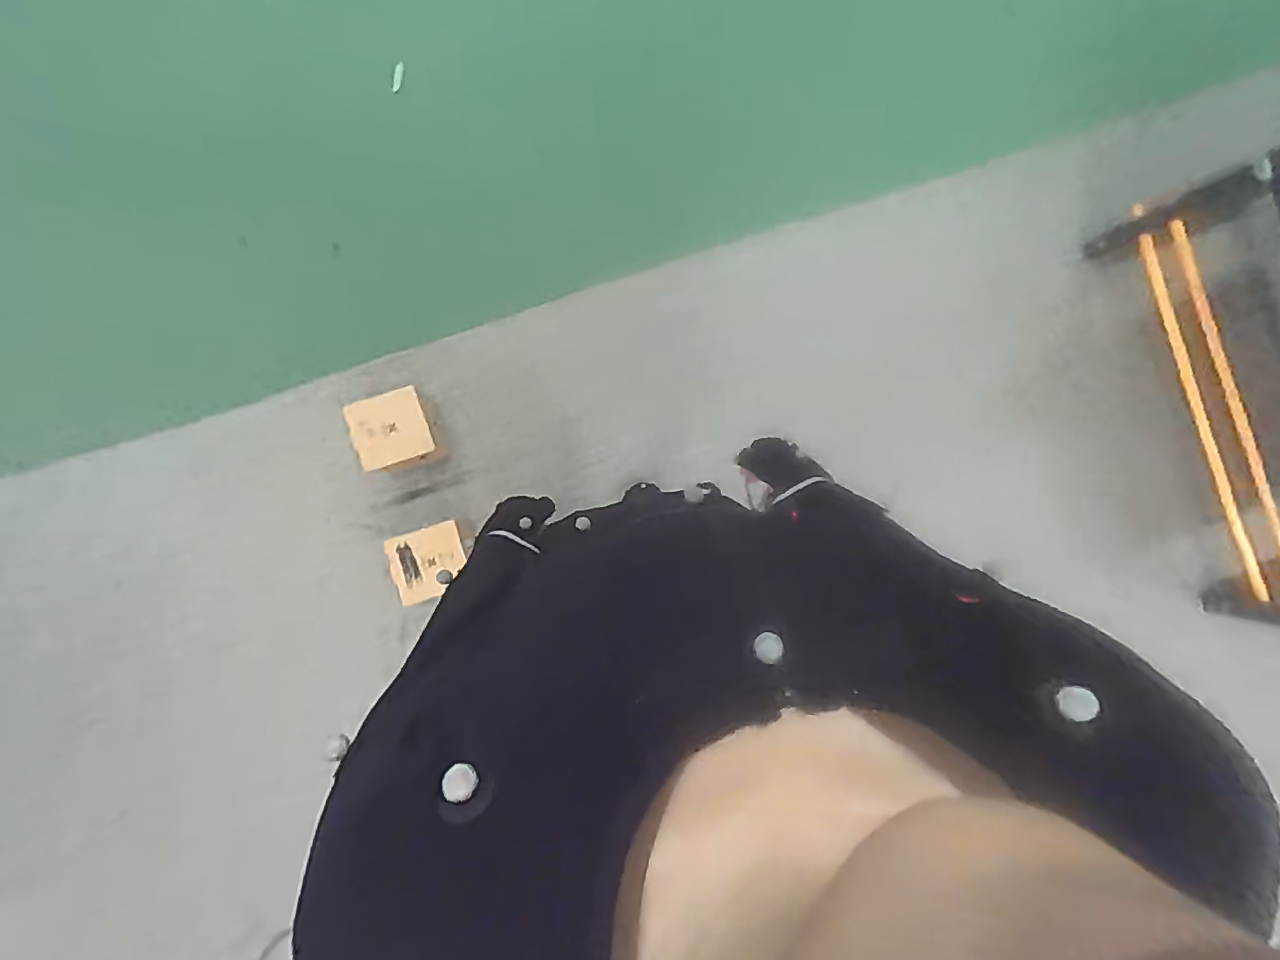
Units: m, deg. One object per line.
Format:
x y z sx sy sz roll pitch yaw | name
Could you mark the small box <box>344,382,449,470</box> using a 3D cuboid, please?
-0.593 -0.129 1.350 0.179 0.176 0.168 -20 91 -5 | small box
